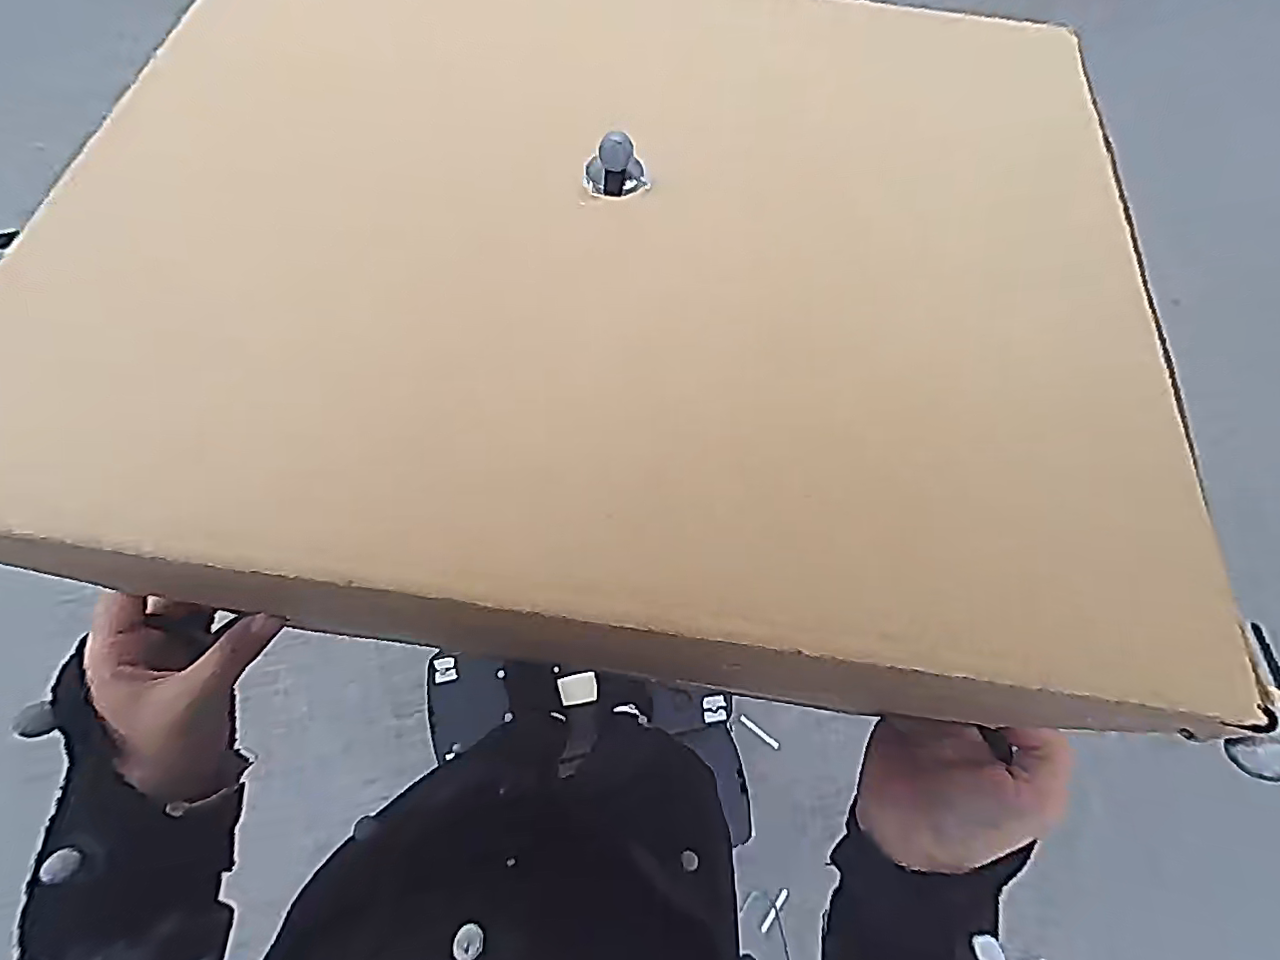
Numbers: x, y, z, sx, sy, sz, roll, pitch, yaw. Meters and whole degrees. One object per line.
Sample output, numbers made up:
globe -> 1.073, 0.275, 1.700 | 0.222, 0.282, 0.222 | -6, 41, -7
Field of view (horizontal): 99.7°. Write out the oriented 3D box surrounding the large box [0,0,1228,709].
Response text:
large box -> -0.027, -0.053, 0.341 | 0.408, 0.320, 0.320 | 7, 70, 2

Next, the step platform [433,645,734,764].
step platform -> -0.126, 0.461, 1.277 | 0.684, 0.204, 0.286 | -6, 80, -4
